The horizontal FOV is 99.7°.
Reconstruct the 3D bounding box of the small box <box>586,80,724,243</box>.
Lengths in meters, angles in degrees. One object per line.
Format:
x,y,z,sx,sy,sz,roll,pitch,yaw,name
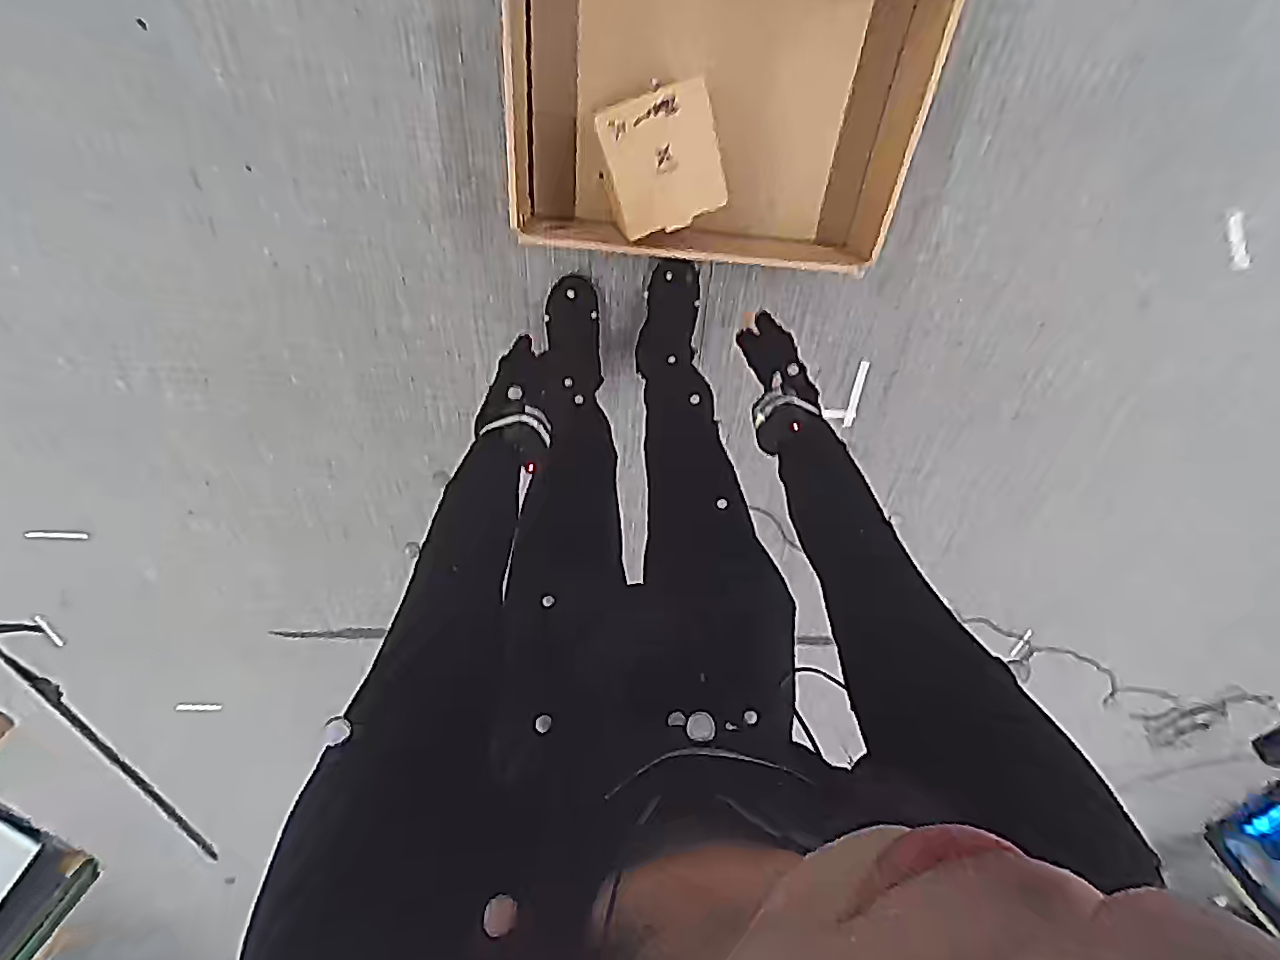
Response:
0.021,-0.508,0.858,0.168,0.176,0.179,-19,126,2,small box
